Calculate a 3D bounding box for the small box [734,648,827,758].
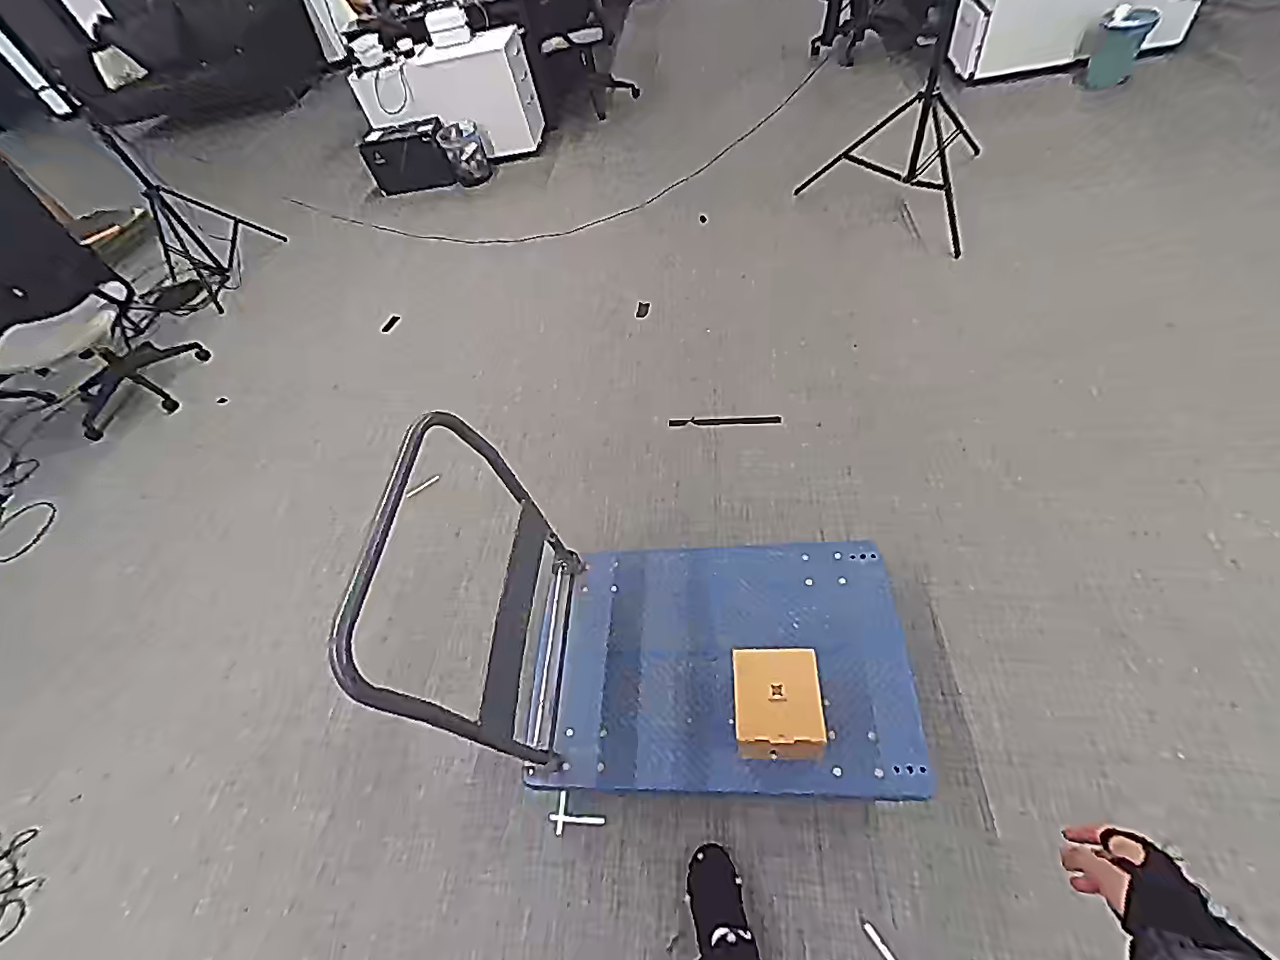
[{"bbox_3d":[0.282,0.462,1.118,0.168,0.176,0.179,-4,54,10],"label":"small box"}]
